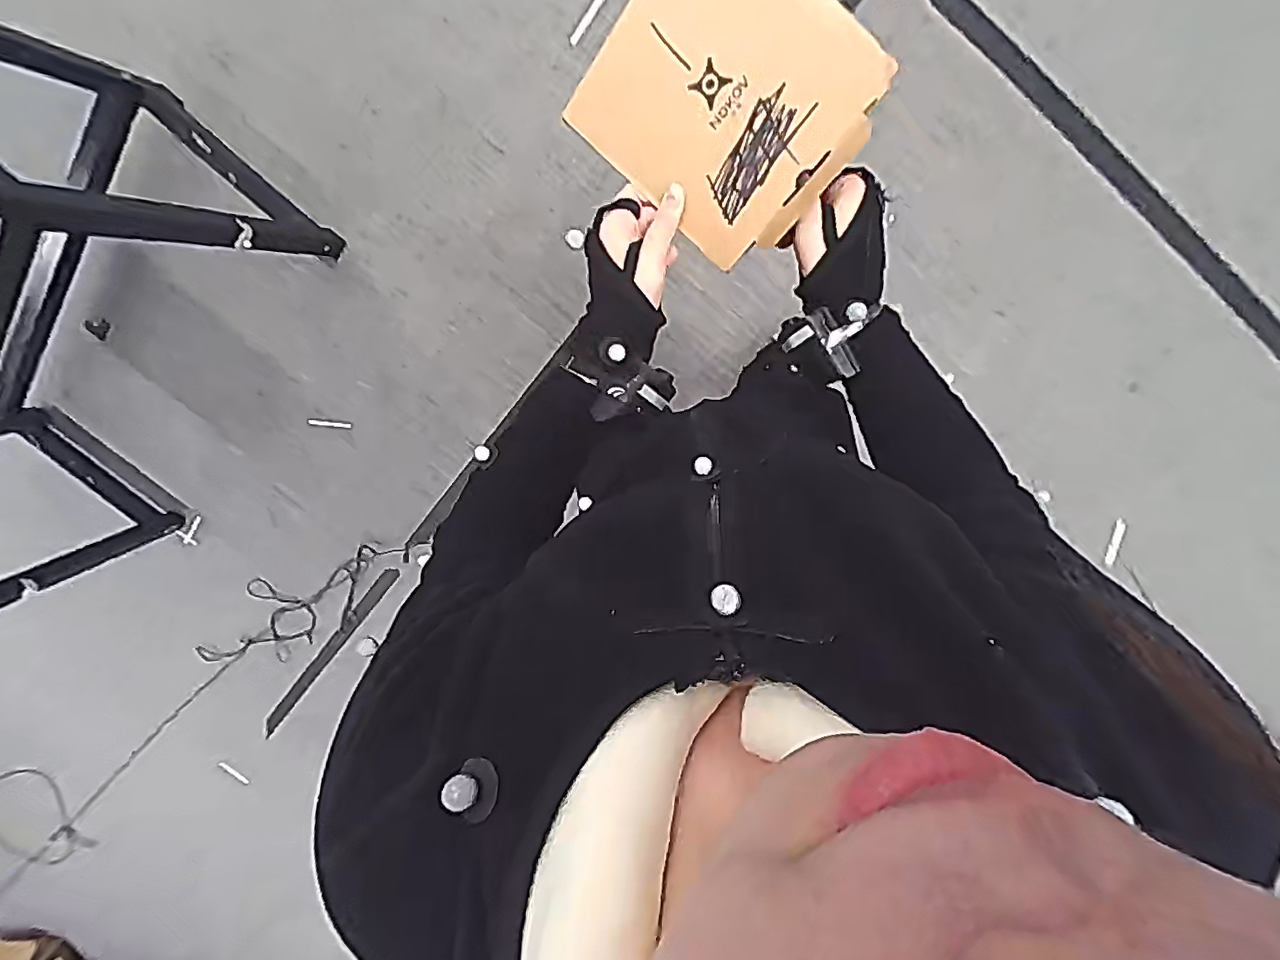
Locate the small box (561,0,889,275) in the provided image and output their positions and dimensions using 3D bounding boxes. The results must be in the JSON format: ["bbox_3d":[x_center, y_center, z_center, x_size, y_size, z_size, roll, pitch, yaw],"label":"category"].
[{"bbox_3d":[0.068,-0.306,0.455,0.179,0.176,0.168,39,116,-11],"label":"small box"}]
